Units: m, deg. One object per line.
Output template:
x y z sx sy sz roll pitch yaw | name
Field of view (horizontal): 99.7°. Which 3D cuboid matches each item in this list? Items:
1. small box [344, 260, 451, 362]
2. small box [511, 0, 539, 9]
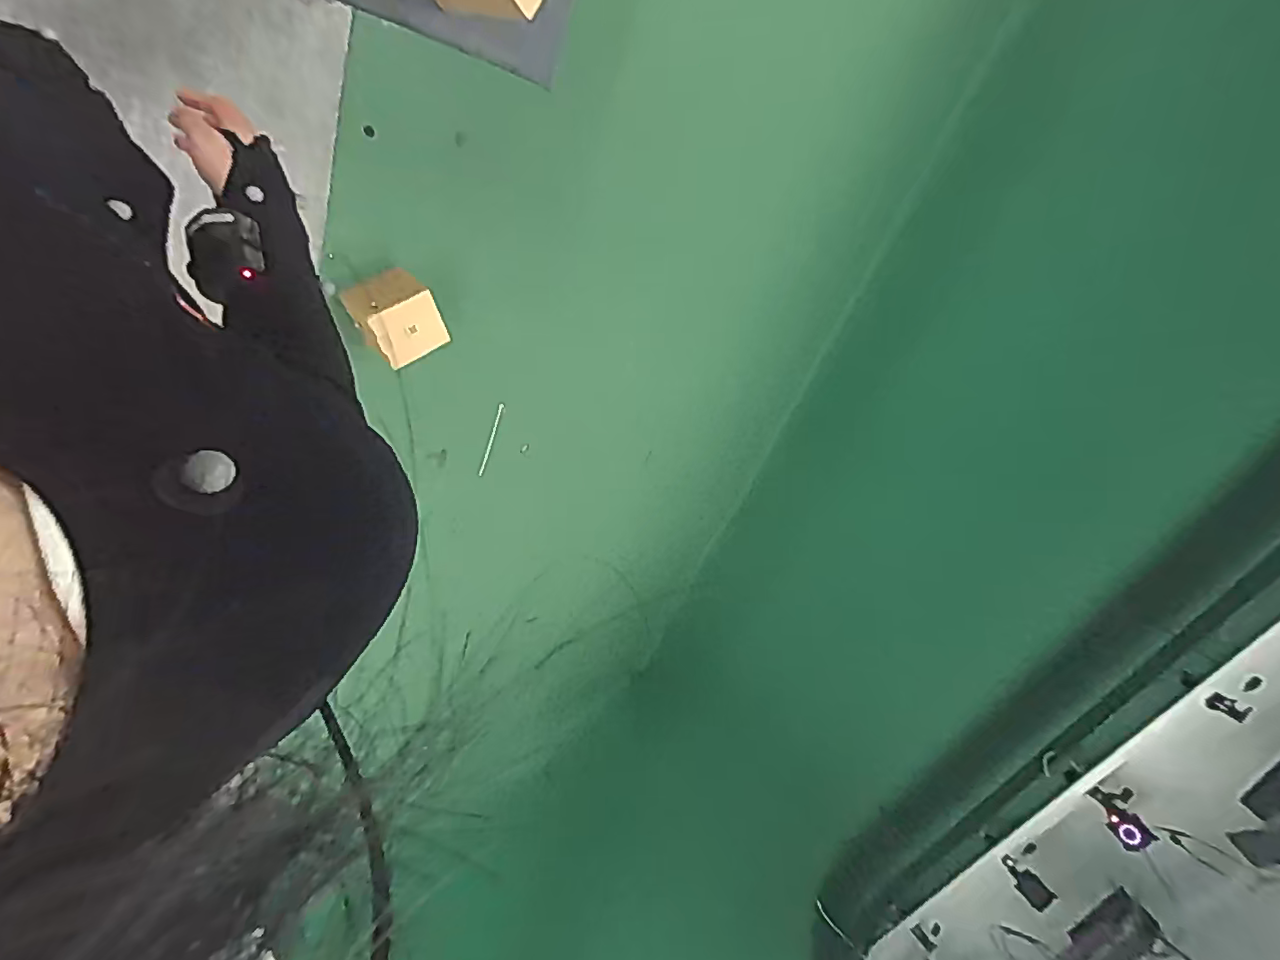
-0.644 -0.455 1.439 0.179 0.176 0.168 -37 149 -20 | small box
-0.154 -0.560 0.462 0.168 0.176 0.179 -56 150 7 | small box
